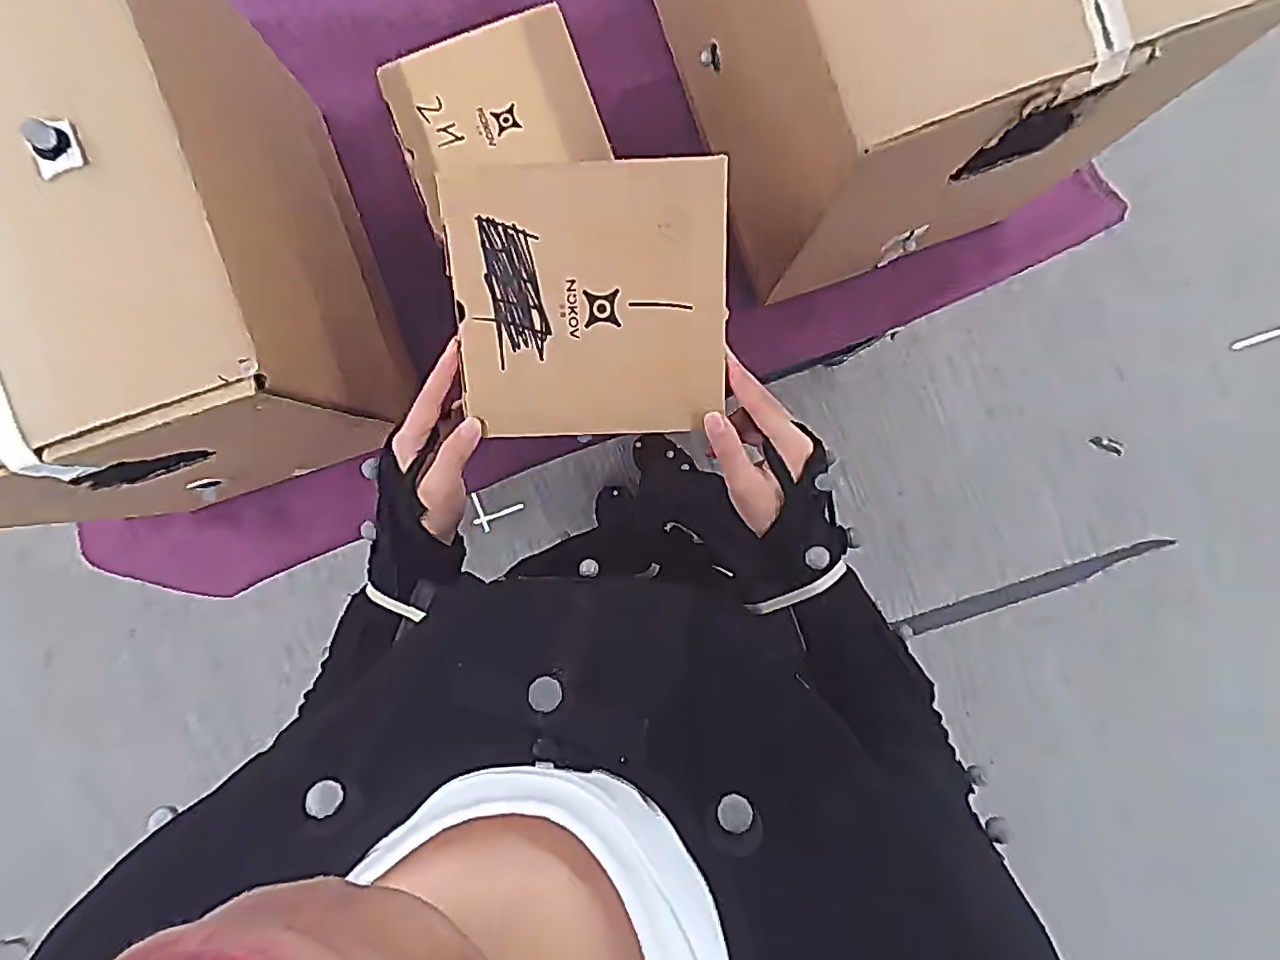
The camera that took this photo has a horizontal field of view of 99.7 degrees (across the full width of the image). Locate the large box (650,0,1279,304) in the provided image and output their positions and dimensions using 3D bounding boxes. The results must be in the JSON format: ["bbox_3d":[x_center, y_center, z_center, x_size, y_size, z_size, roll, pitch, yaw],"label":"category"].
[{"bbox_3d":[0.213,-0.437,0.477,0.320,0.320,0.408,-20,89,0],"label":"large box"}]

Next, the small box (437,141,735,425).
[{"bbox_3d":[-0.030,-0.135,0.409,0.179,0.176,0.168,-2,106,0],"label":"small box"}]
